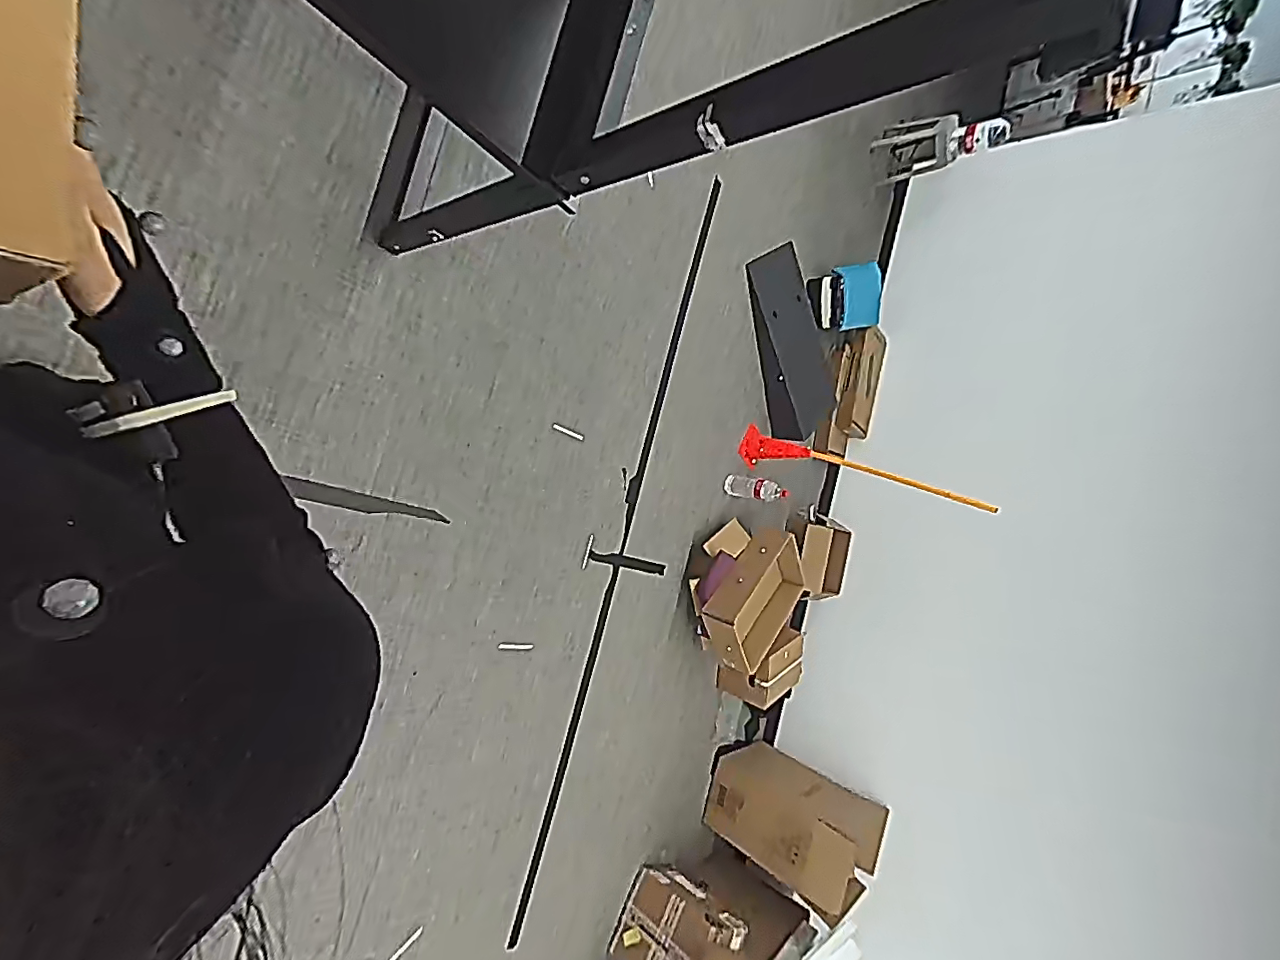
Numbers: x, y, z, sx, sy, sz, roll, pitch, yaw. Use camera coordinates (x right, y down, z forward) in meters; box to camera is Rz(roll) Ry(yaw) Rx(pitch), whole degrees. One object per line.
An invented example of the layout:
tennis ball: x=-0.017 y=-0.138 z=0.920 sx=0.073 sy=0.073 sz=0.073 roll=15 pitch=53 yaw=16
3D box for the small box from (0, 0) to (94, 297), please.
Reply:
small box: x=-0.376 y=-0.193 z=0.234 sx=0.168 sy=0.176 sz=0.179 roll=0 pitch=96 yaw=-57
